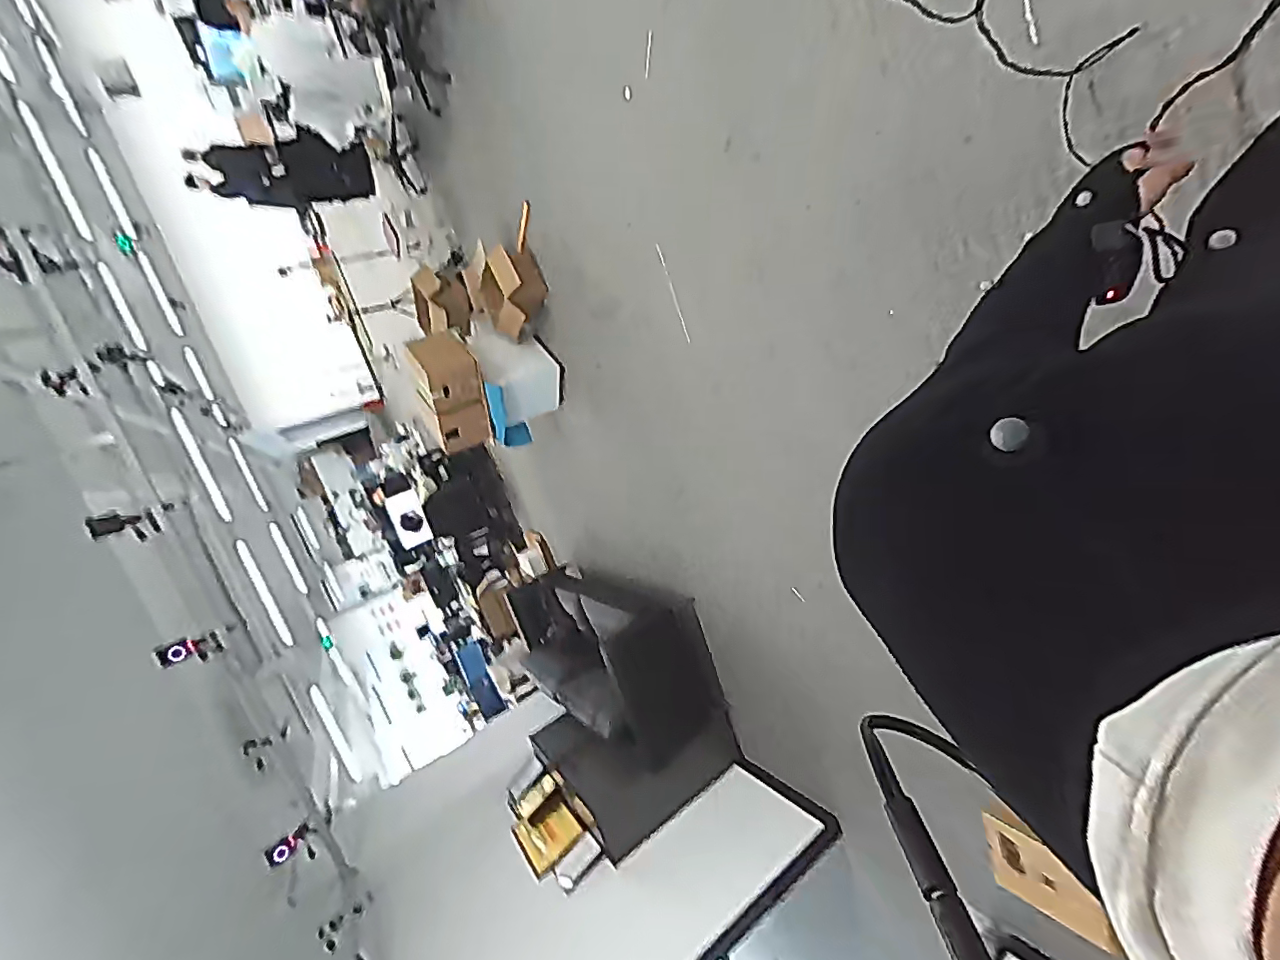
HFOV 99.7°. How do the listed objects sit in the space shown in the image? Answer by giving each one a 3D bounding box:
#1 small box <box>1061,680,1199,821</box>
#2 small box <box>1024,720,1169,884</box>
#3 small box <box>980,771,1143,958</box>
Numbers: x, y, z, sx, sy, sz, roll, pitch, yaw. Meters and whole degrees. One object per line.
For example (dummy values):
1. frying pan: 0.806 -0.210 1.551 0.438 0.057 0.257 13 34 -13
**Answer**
1. small box: 1.000 0.531 1.102 0.179 0.176 0.168 9 118 58
2. small box: 0.868 0.592 1.025 0.179 0.176 0.168 5 114 57
3. small box: 0.736 0.651 0.947 0.179 0.176 0.168 5 114 57
